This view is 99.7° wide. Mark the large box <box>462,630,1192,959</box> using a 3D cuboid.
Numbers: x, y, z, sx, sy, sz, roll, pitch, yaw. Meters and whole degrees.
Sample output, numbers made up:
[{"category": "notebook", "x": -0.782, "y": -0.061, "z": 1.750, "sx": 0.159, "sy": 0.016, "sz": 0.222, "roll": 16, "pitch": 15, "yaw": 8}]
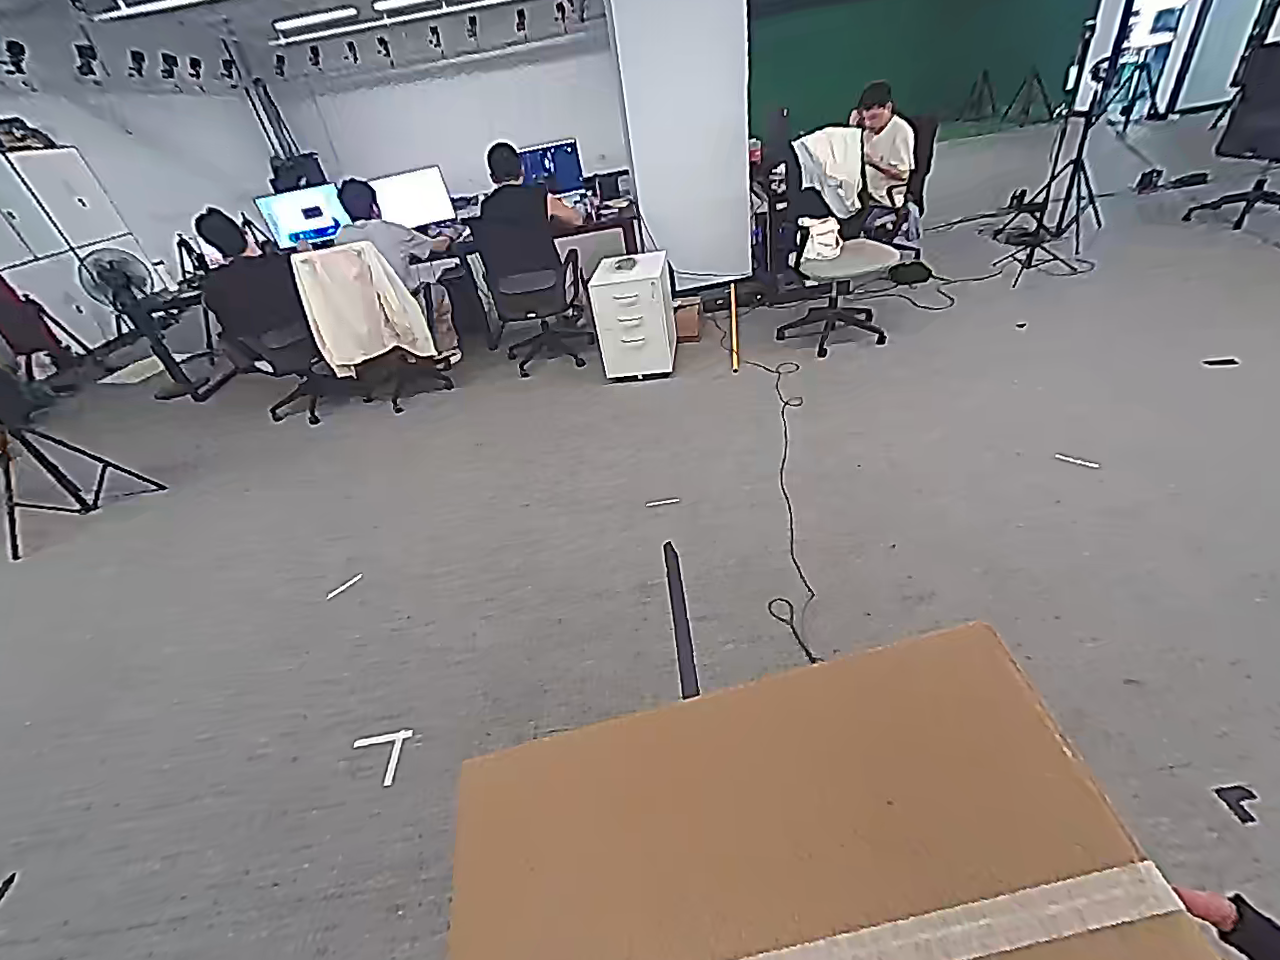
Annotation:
[{"category": "large box", "x": 0.121, "y": 0.369, "z": 0.413, "sx": 0.408, "sy": 0.320, "sz": 0.320, "roll": -18, "pitch": 46, "yaw": 5}]
